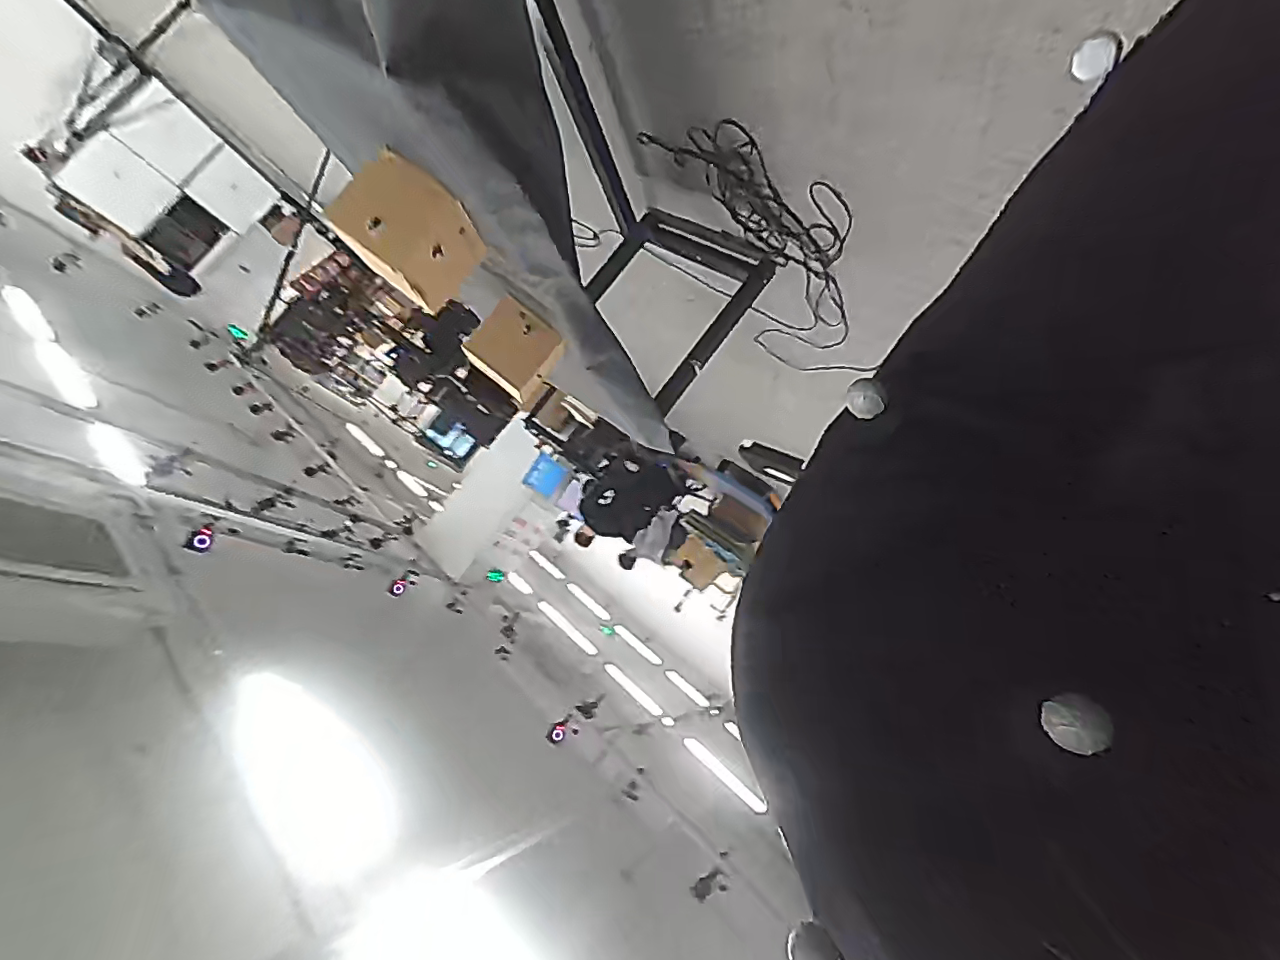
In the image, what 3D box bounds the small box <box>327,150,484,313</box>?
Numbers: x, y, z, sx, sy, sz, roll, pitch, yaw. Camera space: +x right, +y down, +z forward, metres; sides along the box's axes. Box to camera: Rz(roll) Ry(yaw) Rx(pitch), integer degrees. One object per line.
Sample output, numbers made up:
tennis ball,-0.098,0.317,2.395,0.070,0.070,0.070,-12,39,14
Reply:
small box,-0.408,-0.449,0.982,0.179,0.176,0.168,39,173,8
